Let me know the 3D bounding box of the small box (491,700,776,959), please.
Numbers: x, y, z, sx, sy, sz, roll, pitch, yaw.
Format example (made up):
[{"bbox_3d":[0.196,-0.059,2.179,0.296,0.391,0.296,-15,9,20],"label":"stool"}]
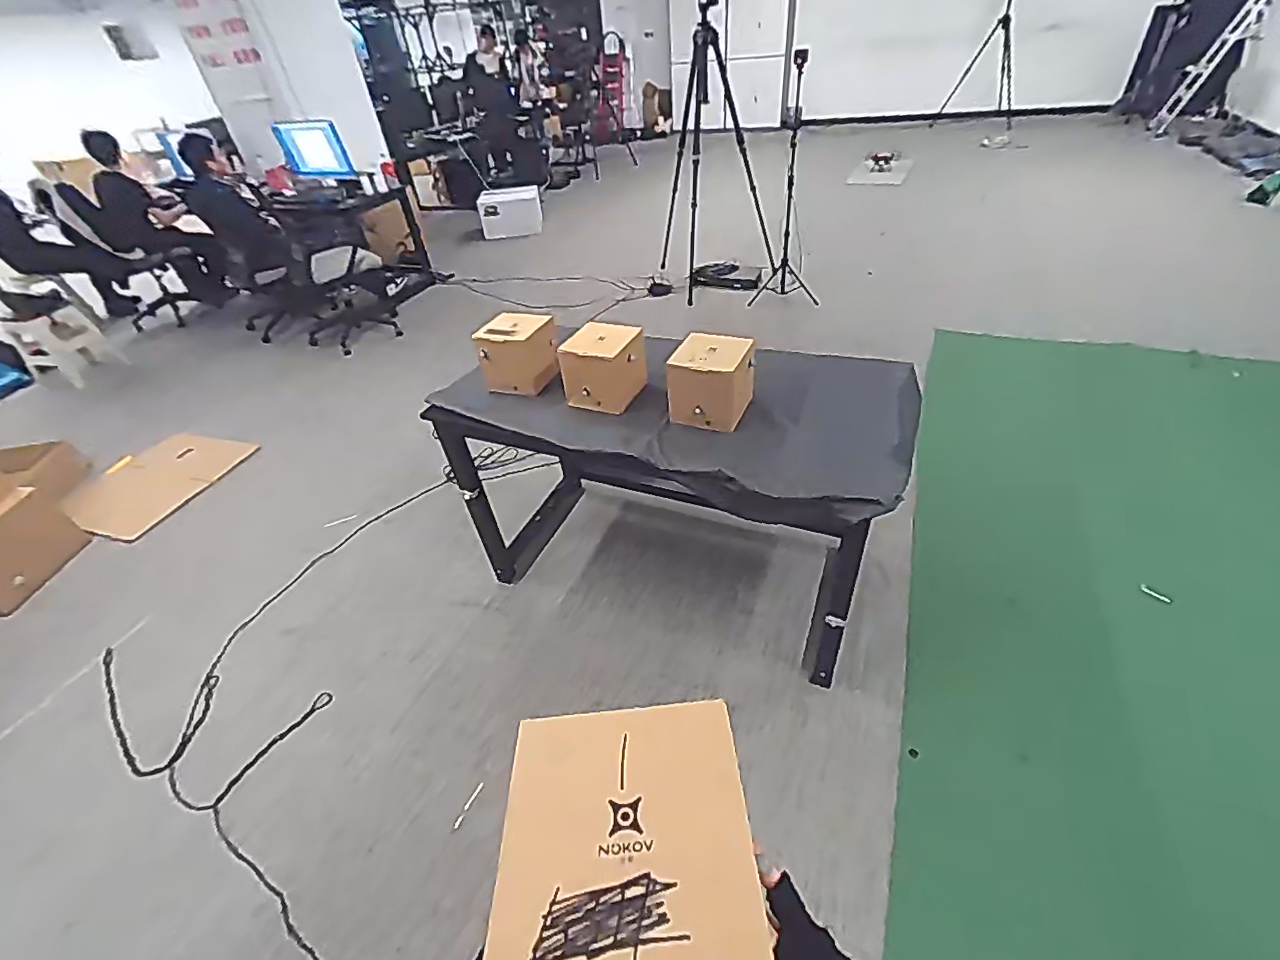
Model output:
[{"bbox_3d":[0.002,0.296,0.403,0.168,0.176,0.179,-6,35,2],"label":"small box"}]

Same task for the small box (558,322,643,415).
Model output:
[{"bbox_3d":[-0.098,-0.300,1.448,0.168,0.176,0.179,14,44,21],"label":"small box"}]

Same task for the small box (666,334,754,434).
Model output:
[{"bbox_3d":[0.174,-0.241,1.340,0.168,0.176,0.179,13,44,22],"label":"small box"}]
